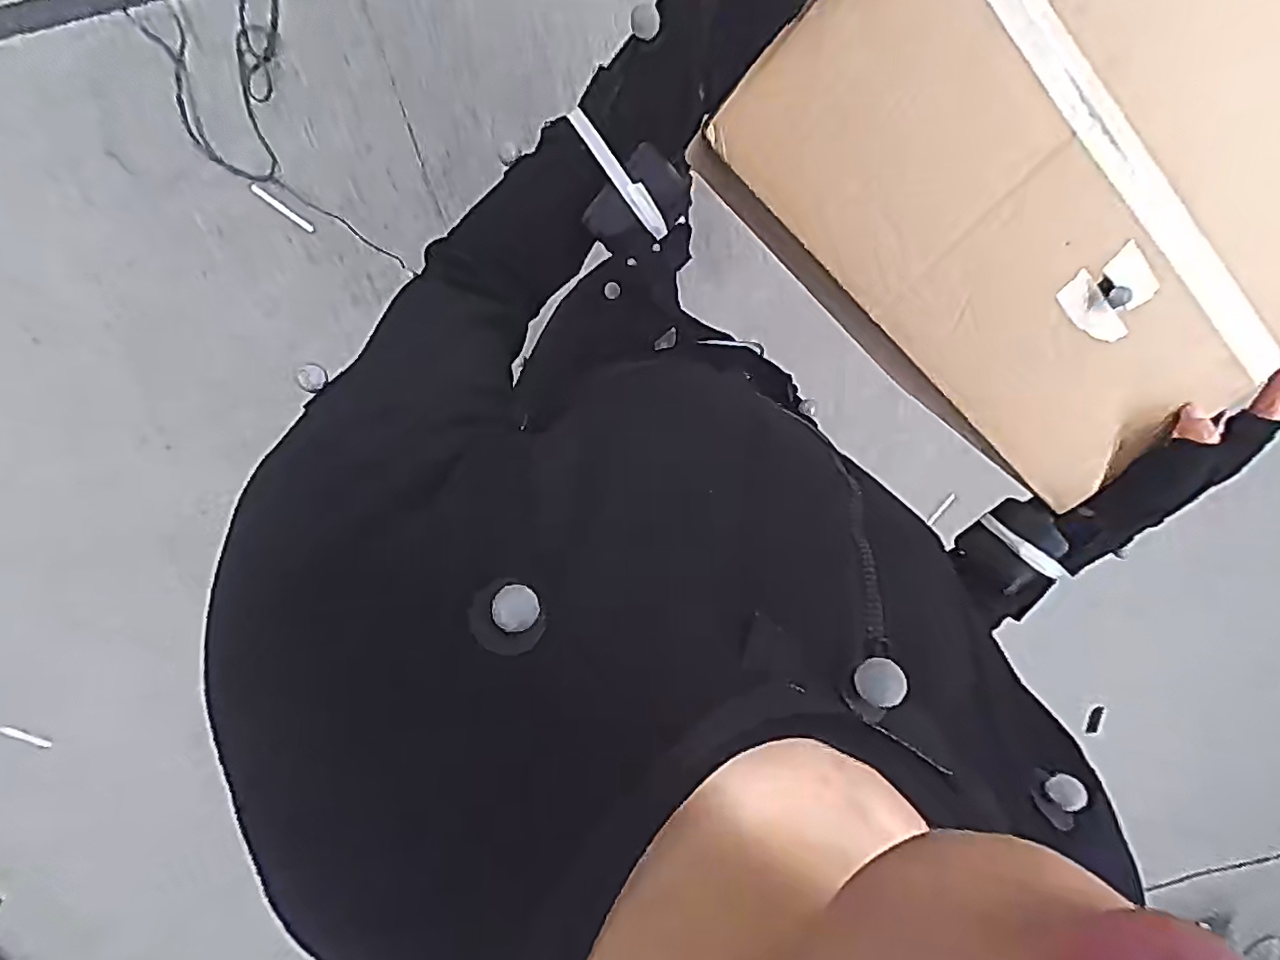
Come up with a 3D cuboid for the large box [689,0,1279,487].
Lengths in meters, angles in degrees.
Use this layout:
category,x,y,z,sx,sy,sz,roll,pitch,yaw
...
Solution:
category,x,y,z,sx,sy,sz,roll,pitch,yaw
large box,0.294,-0.276,0.473,0.408,0.320,0.320,38,114,-17
